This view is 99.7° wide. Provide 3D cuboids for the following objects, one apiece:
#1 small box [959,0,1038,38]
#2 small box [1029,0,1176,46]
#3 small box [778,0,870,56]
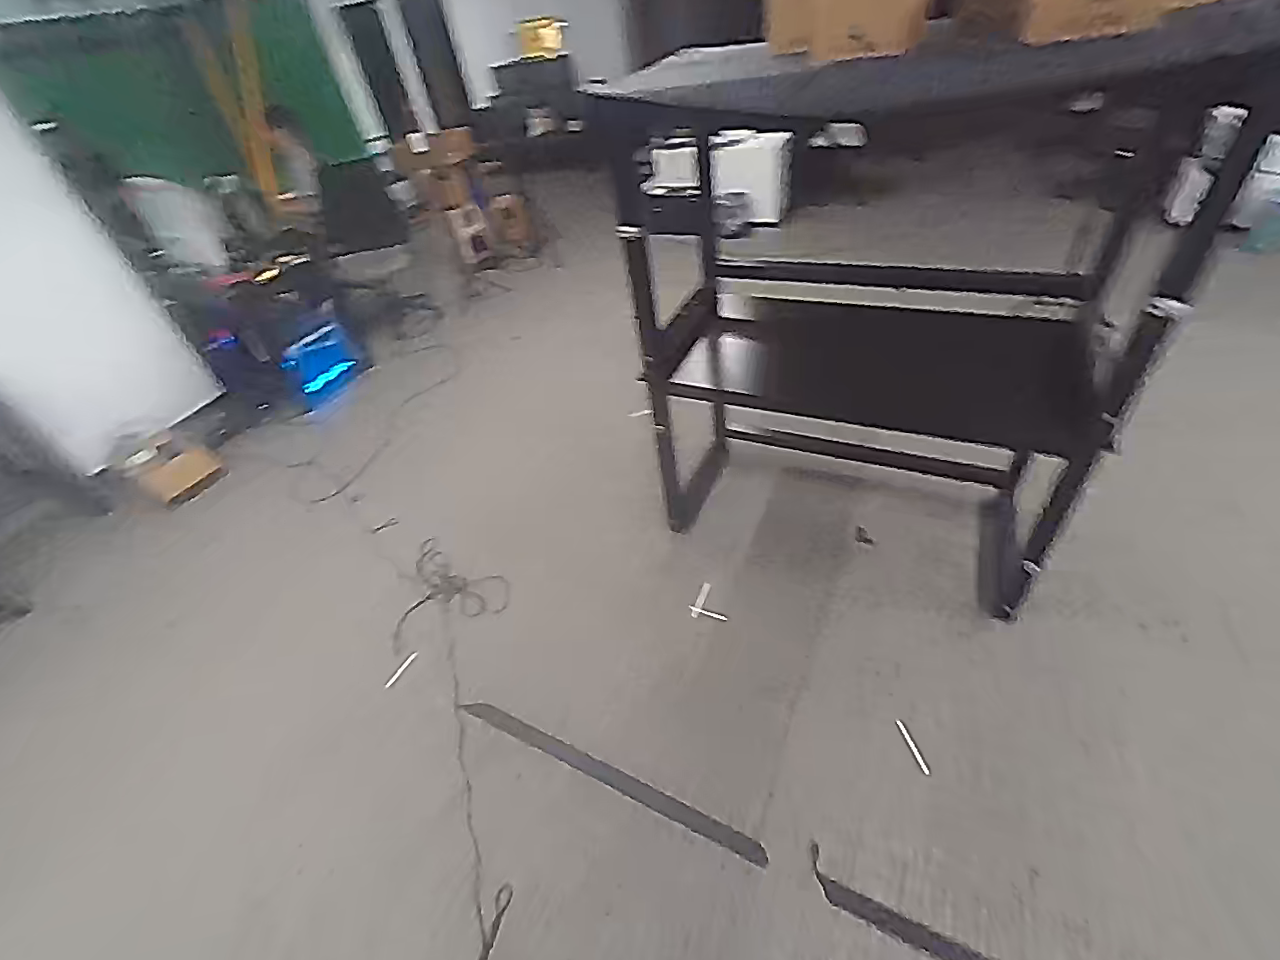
[{"bbox_3d":[0.741,-0.989,1.061,0.168,0.176,0.179,12,46,23],"label":"small box"},{"bbox_3d":[0.734,-0.795,0.843,0.168,0.176,0.179,10,44,22],"label":"small box"},{"bbox_3d":[0.422,-1.090,1.236,0.168,0.176,0.179,17,48,29],"label":"small box"}]
